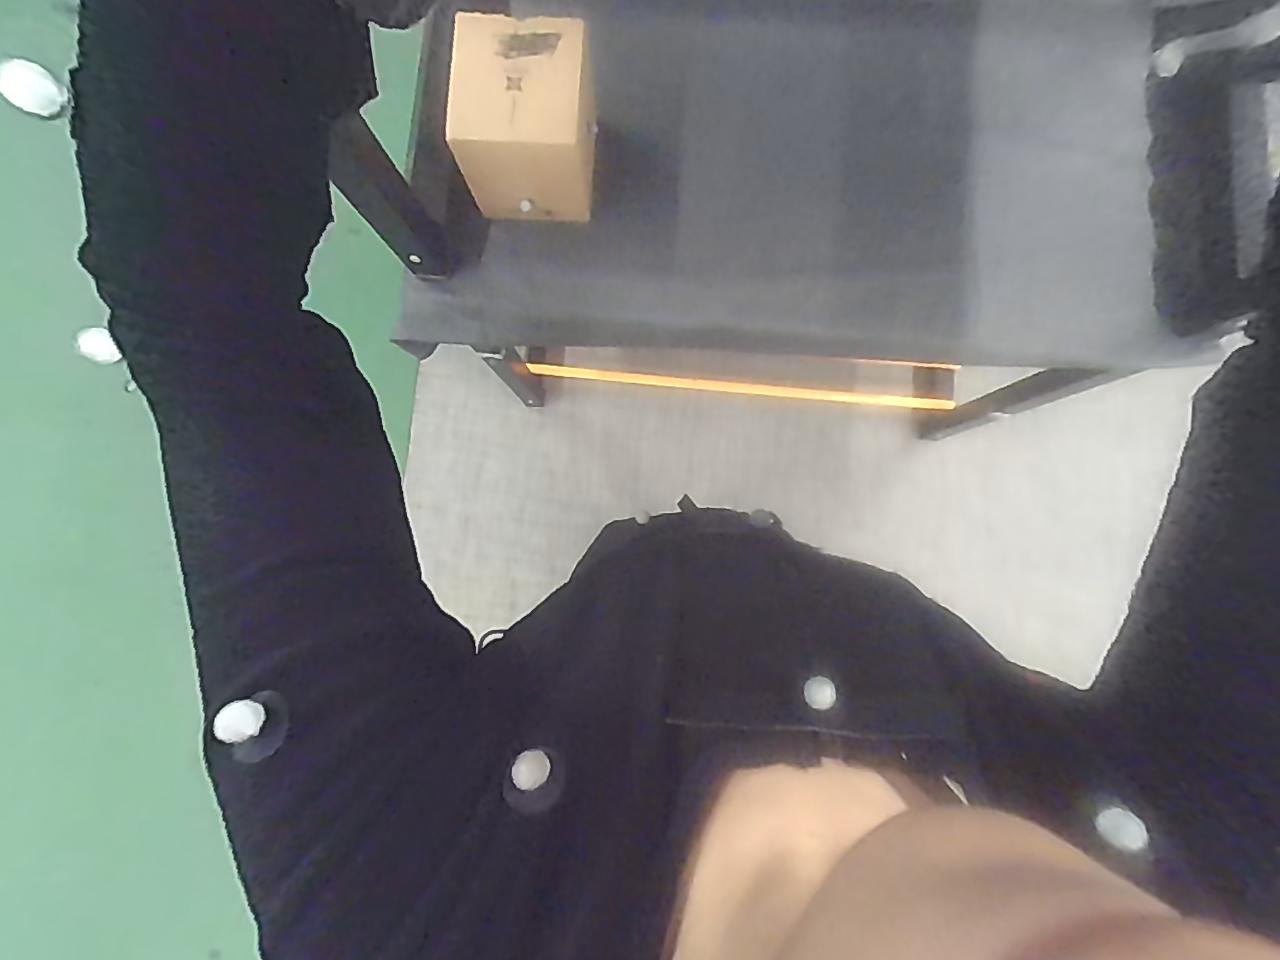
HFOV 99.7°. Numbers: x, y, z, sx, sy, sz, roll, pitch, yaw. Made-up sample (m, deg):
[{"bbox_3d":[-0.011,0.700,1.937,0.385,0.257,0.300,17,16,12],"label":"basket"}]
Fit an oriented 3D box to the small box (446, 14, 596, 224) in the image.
[{"bbox_3d":[-0.153,-0.491,0.754,0.168,0.176,0.179,3,84,1],"label":"small box"}]
